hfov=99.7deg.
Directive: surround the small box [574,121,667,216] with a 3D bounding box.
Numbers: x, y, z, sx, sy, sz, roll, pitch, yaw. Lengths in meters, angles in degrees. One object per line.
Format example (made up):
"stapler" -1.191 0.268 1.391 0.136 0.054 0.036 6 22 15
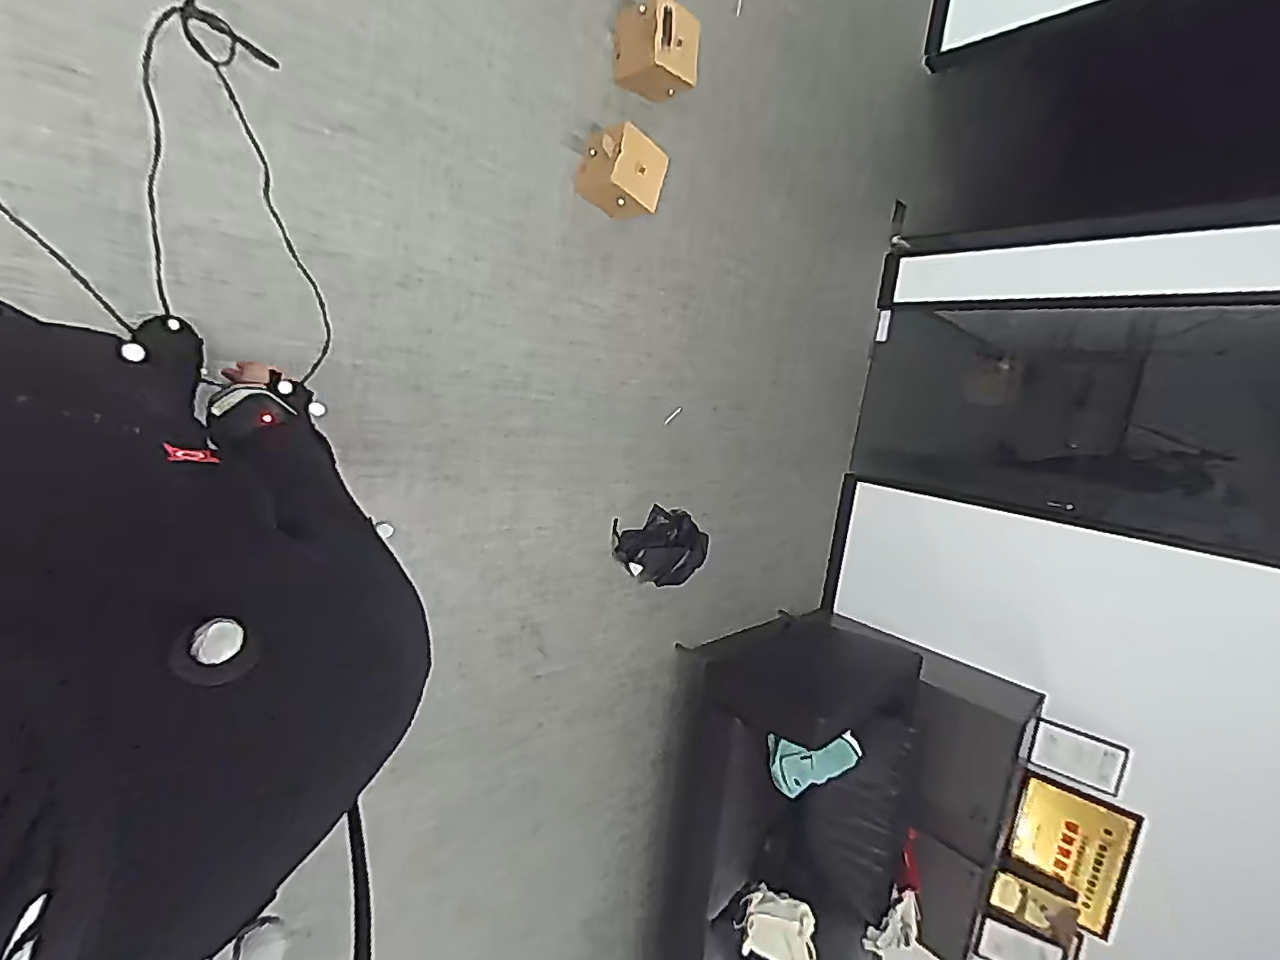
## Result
"small box" -0.057 -0.875 1.542 0.179 0.176 0.168 14 93 -45
